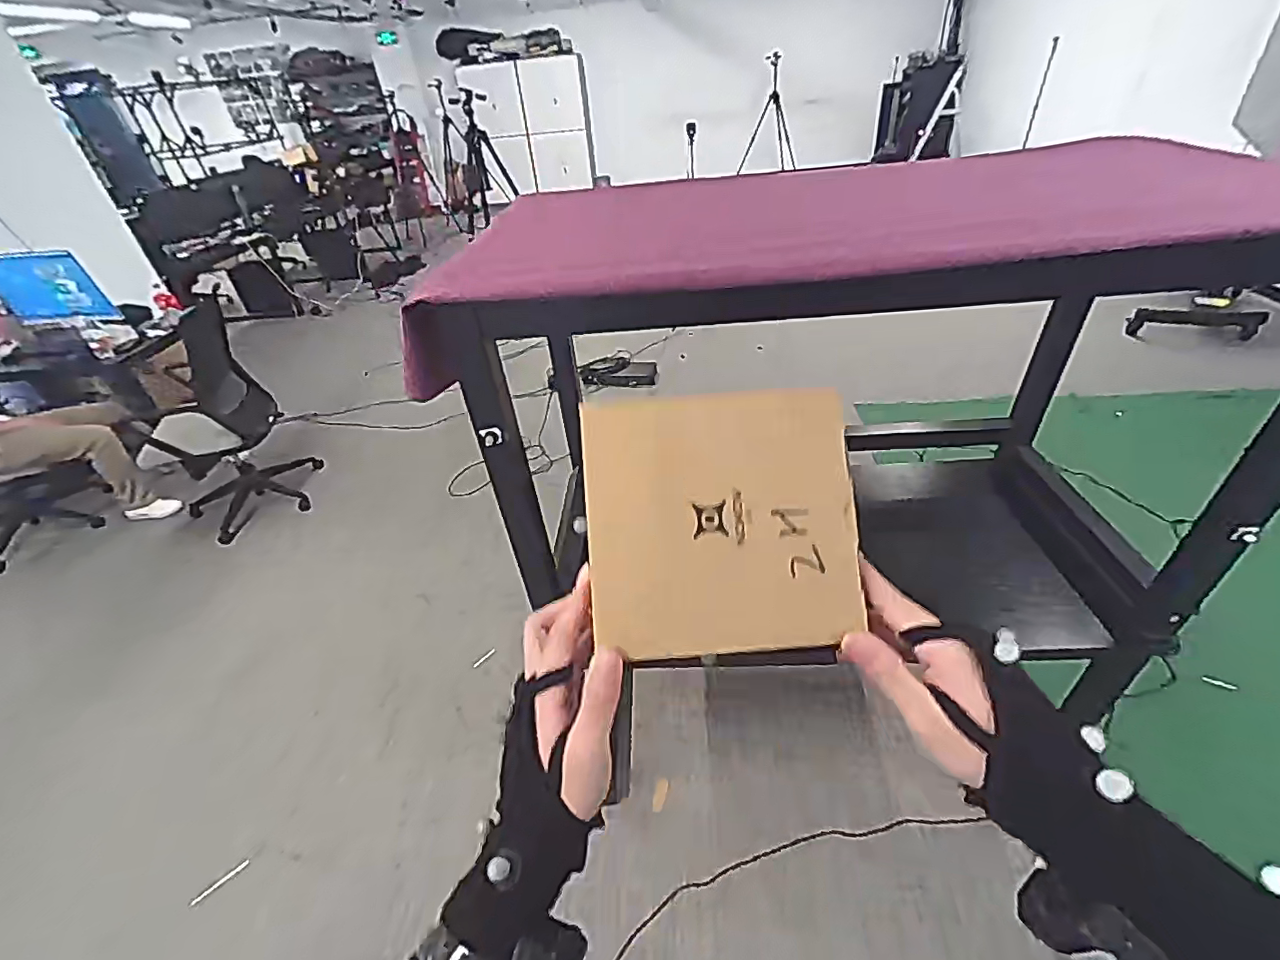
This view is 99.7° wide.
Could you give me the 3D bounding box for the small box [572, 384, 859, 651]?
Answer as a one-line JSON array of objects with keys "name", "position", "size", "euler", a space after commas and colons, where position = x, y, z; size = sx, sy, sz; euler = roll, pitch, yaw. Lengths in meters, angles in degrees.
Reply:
[{"name": "small box", "position": [0.046, 0.030, 0.425], "size": [0.179, 0.168, 0.176], "euler": [-4, -5, -2]}]
